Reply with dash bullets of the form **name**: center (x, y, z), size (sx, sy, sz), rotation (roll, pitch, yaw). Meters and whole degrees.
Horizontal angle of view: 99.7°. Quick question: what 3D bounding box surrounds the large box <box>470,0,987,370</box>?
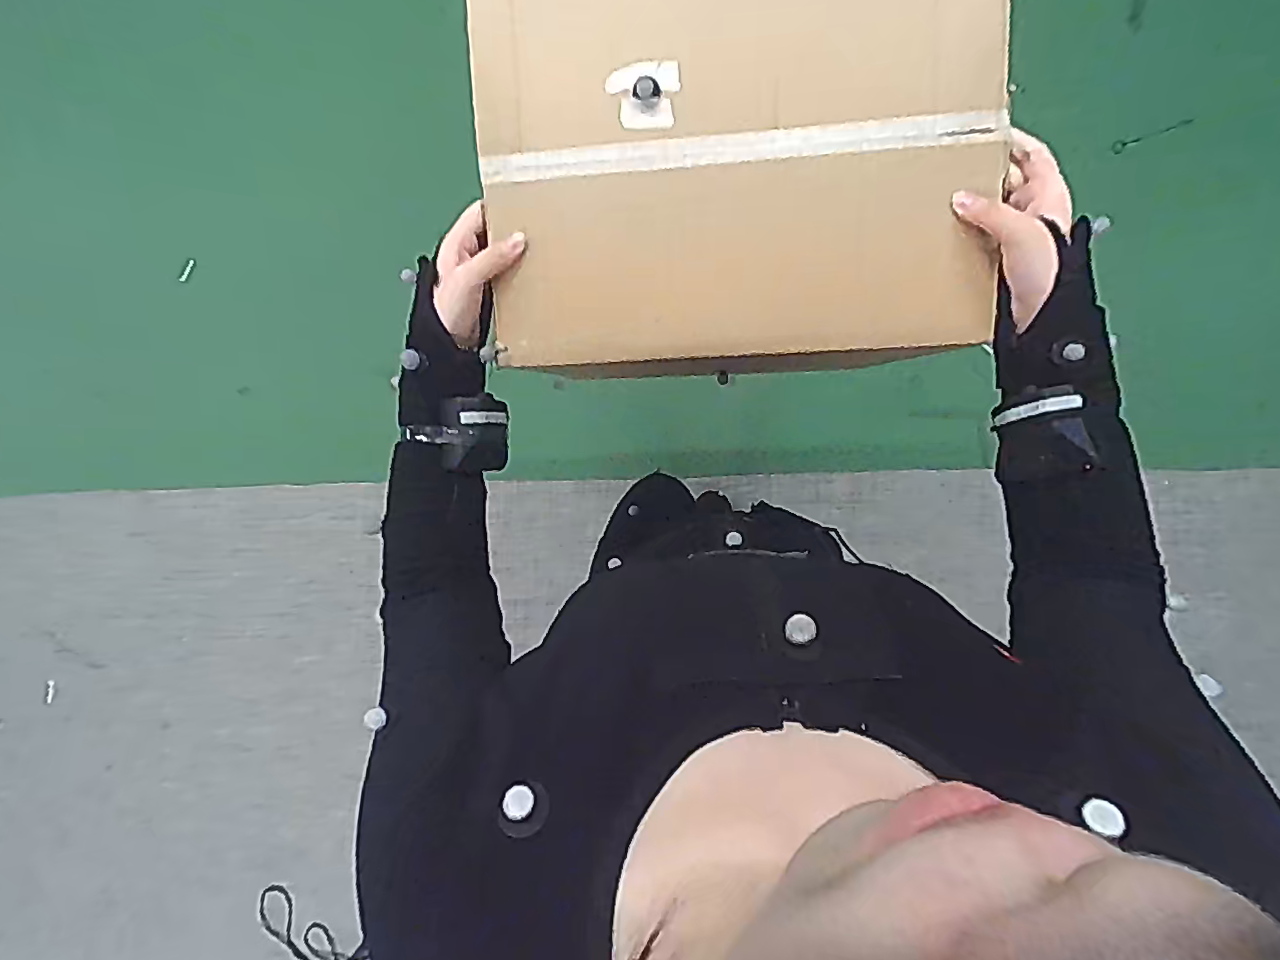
- **large box**: center (0.084, -0.290, 0.583), size (0.408, 0.320, 0.320), rotation (-2, 98, 6)
